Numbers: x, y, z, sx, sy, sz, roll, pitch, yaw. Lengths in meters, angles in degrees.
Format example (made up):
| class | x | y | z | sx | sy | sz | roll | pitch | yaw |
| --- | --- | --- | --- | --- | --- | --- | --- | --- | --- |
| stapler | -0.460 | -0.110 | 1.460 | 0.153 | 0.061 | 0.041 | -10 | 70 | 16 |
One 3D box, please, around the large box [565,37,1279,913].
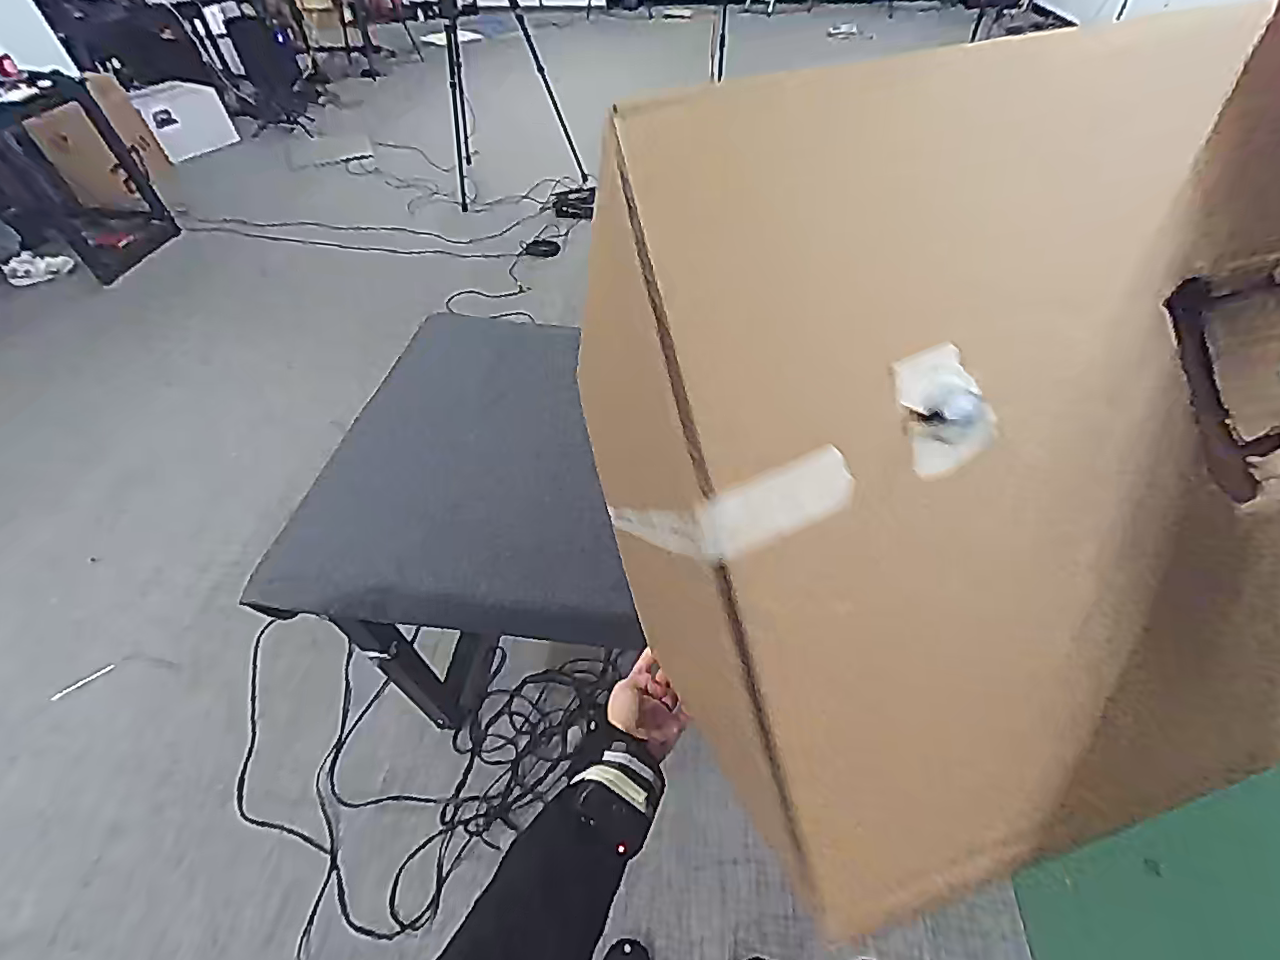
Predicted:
| class | x | y | z | sx | sy | sz | roll | pitch | yaw |
| --- | --- | --- | --- | --- | --- | --- | --- | --- | --- |
| large box | 0.139 | -0.015 | 0.414 | 0.320 | 0.408 | 0.320 | -16 | 91 | -11 |
